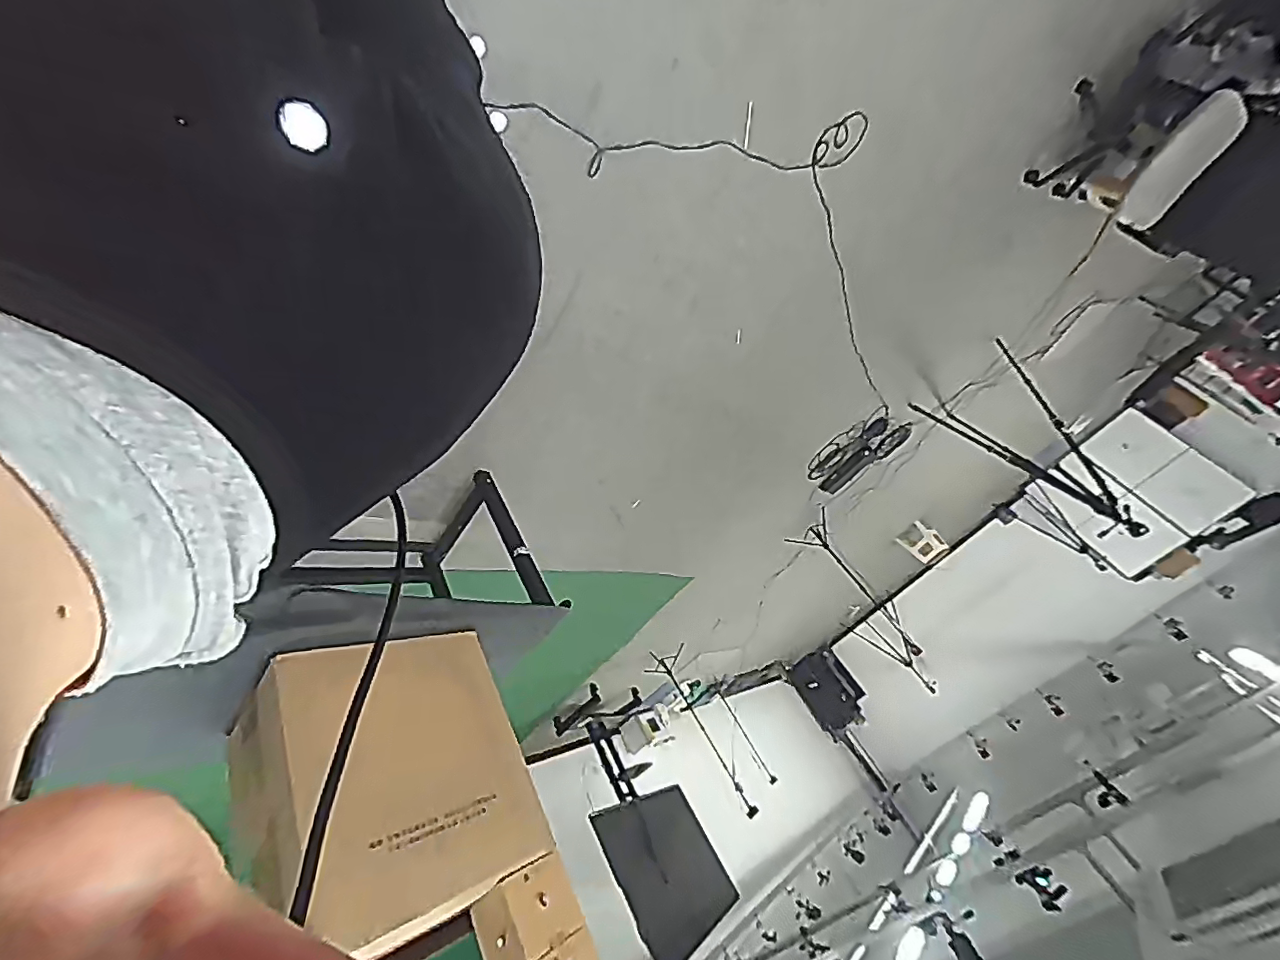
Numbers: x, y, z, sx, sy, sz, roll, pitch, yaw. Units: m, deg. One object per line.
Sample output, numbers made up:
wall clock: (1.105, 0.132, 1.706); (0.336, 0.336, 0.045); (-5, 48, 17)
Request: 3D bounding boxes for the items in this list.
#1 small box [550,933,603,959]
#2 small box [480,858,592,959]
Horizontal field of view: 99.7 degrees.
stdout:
small box: (-0.167, 1.142, 1.177); (0.168, 0.176, 0.179); (6, 129, -49)
small box: (-0.249, 1.028, 1.262); (0.168, 0.176, 0.179); (5, 130, -48)
